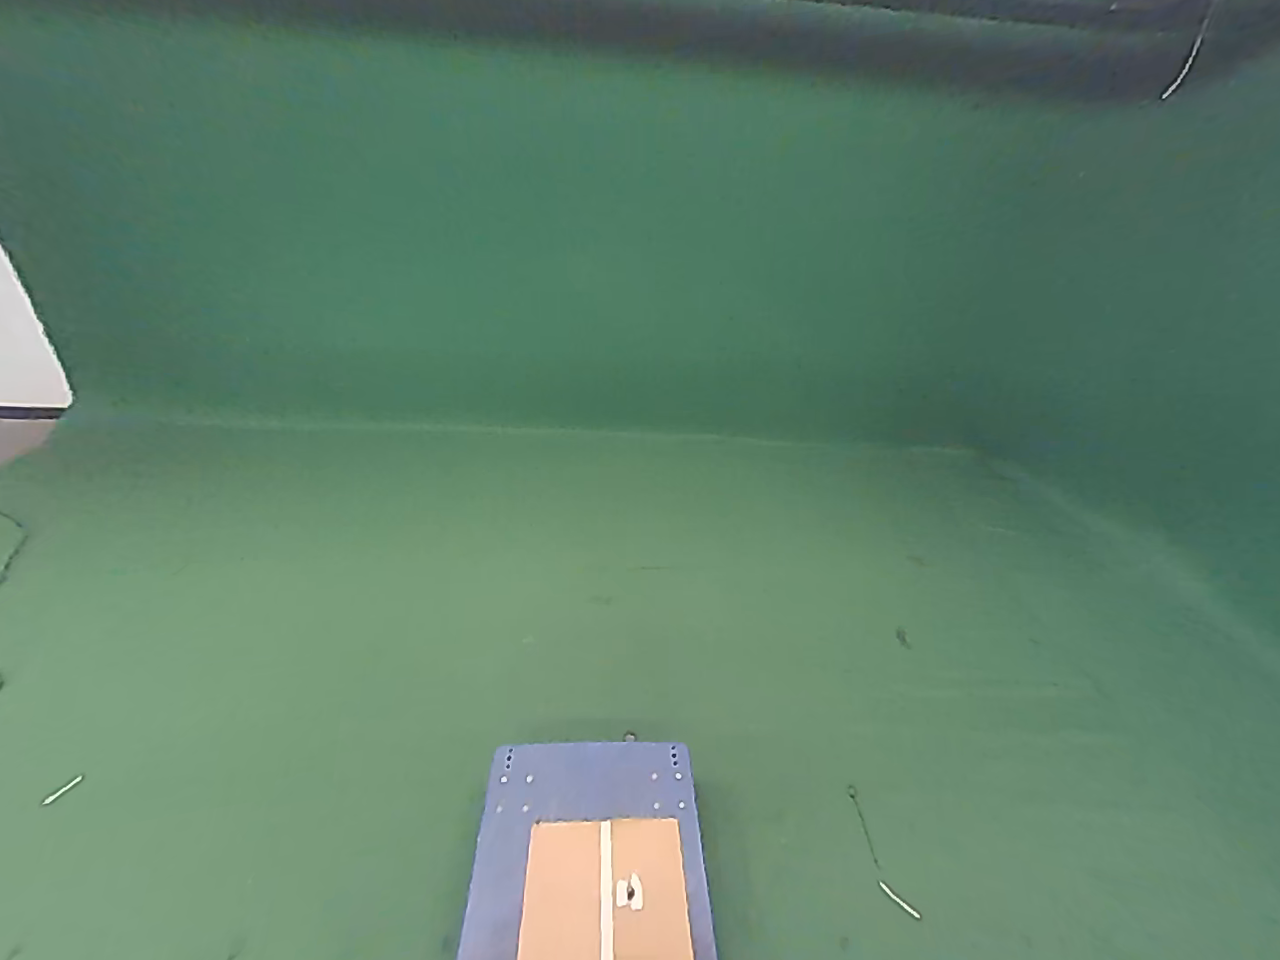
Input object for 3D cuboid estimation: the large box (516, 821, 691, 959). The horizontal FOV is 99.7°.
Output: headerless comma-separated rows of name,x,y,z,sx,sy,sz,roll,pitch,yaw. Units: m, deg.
large box,-0.074,0.960,1.049,0.320,0.320,0.408,2,30,-6
